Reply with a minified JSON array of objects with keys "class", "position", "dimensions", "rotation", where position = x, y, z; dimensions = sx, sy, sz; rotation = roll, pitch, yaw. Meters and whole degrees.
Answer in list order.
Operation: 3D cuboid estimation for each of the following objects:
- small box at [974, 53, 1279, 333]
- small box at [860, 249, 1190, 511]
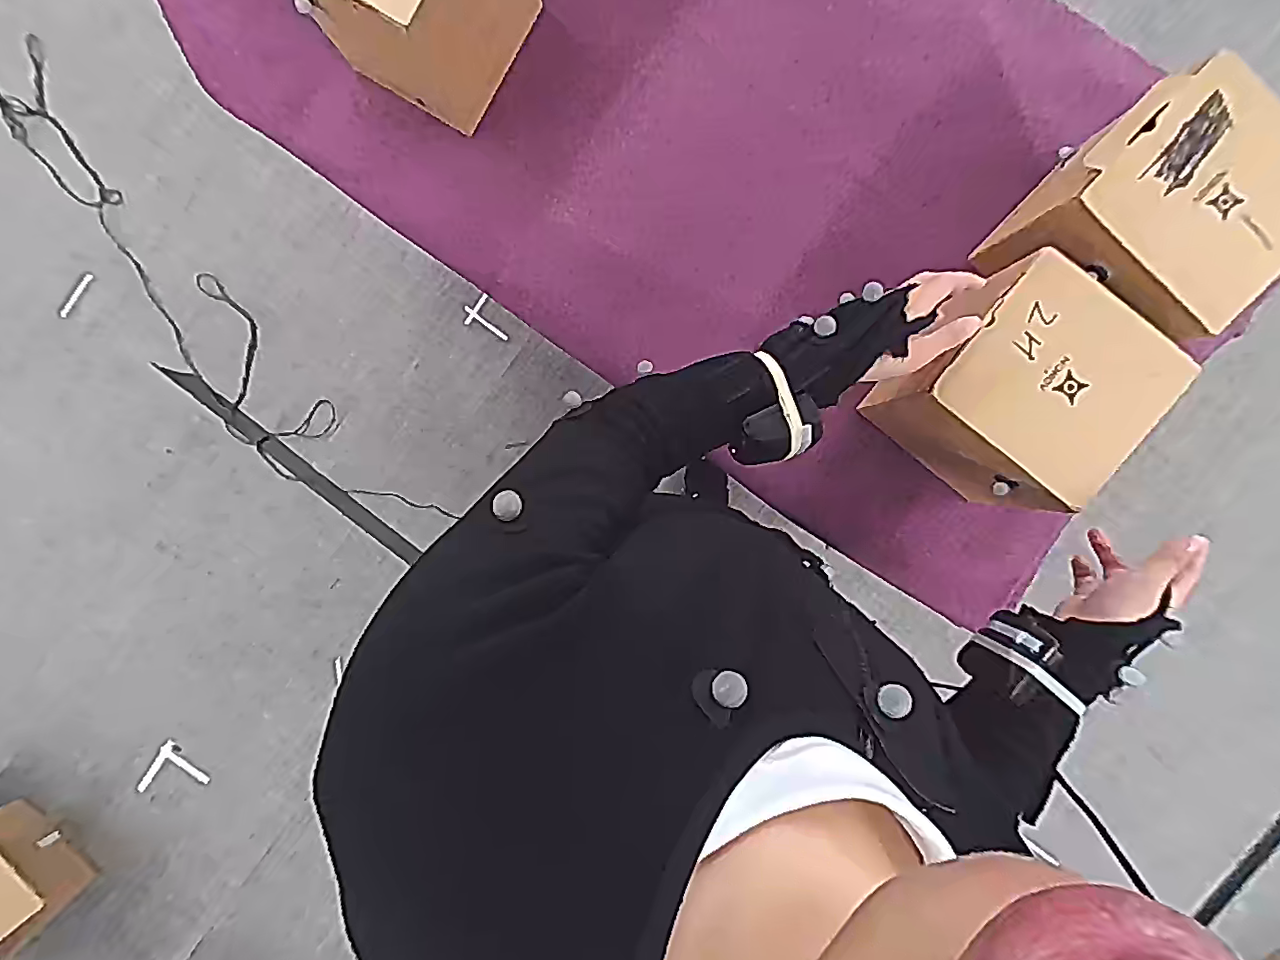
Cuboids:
[{"class":"small box","position":[0.490,-0.251,0.543],"dimensions":[0.179,0.176,0.168],"rotation":[43,95,-2]},{"class":"small box","position":[0.369,-0.092,0.557],"dimensions":[0.179,0.176,0.168],"rotation":[39,92,0]}]
